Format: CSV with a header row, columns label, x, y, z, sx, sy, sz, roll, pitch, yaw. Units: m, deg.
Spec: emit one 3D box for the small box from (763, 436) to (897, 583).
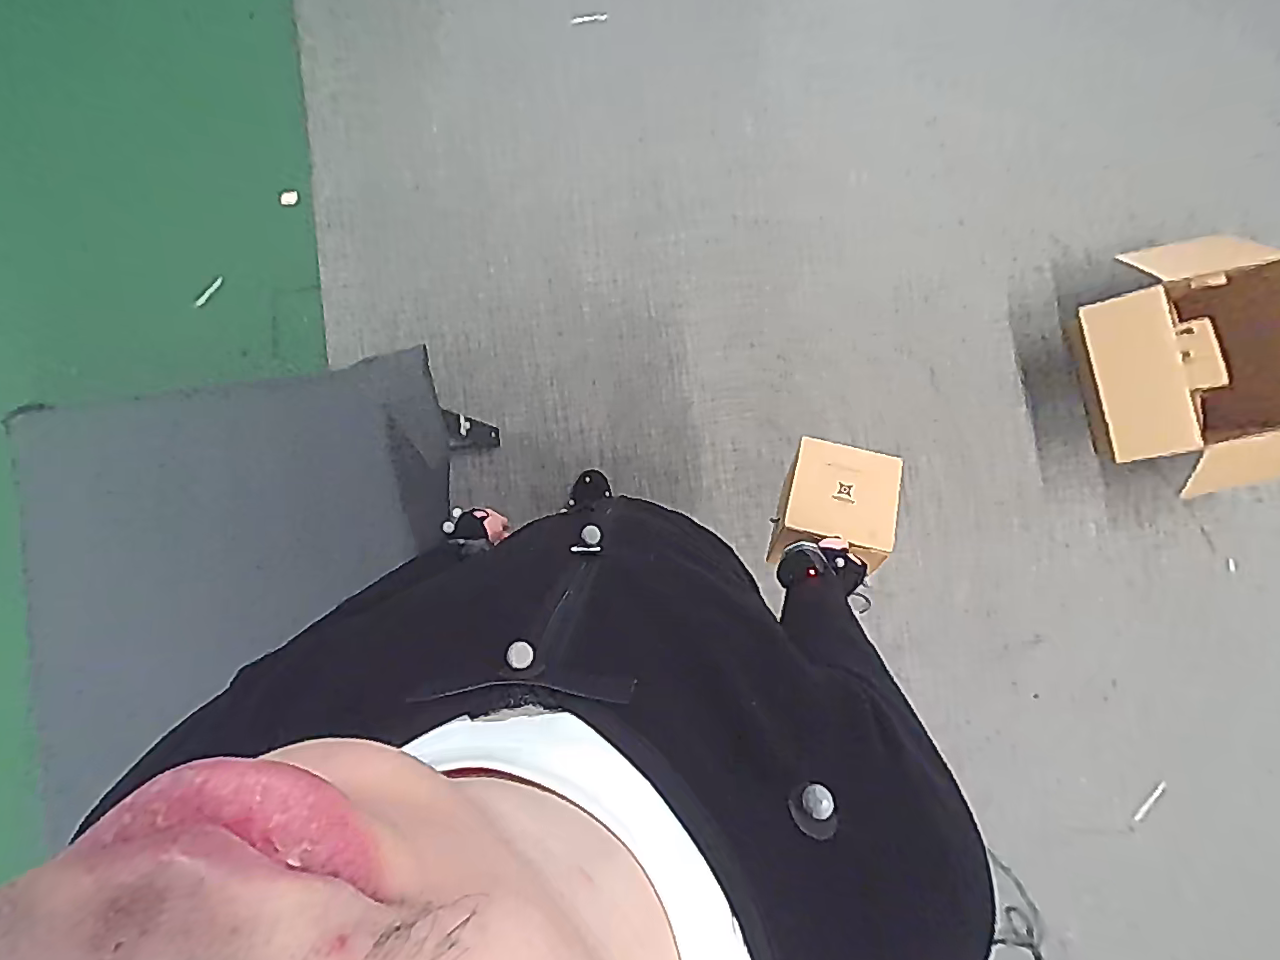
label,x,y,z,sx,sy,sz,roll,pitch,yaw
small box,0.316,0.057,0.923,0.168,0.176,0.179,16,62,8
